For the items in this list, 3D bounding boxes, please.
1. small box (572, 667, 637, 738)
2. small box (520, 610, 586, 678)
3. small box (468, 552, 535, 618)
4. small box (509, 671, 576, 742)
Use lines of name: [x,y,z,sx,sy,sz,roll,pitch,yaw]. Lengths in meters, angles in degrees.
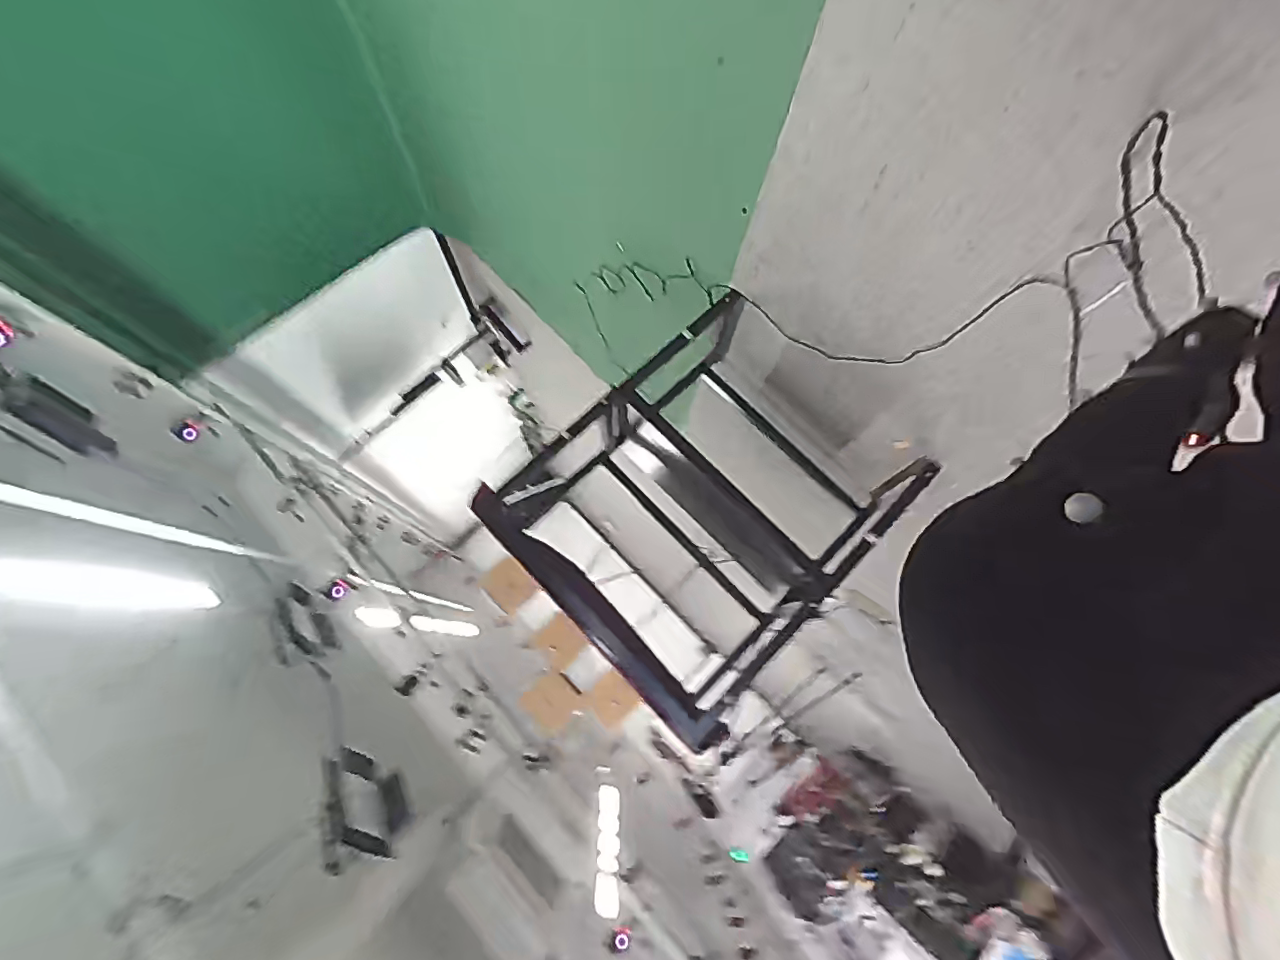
small box: [-0.124,0.796,1.956,0.168,0.176,0.179,45,167,12]
small box: [-0.314,0.605,2.009,0.179,0.176,0.168,46,166,10]
small box: [-0.517,0.400,2.057,0.179,0.176,0.168,44,164,10]
small box: [-0.343,0.805,1.952,0.179,0.176,0.168,44,166,12]
